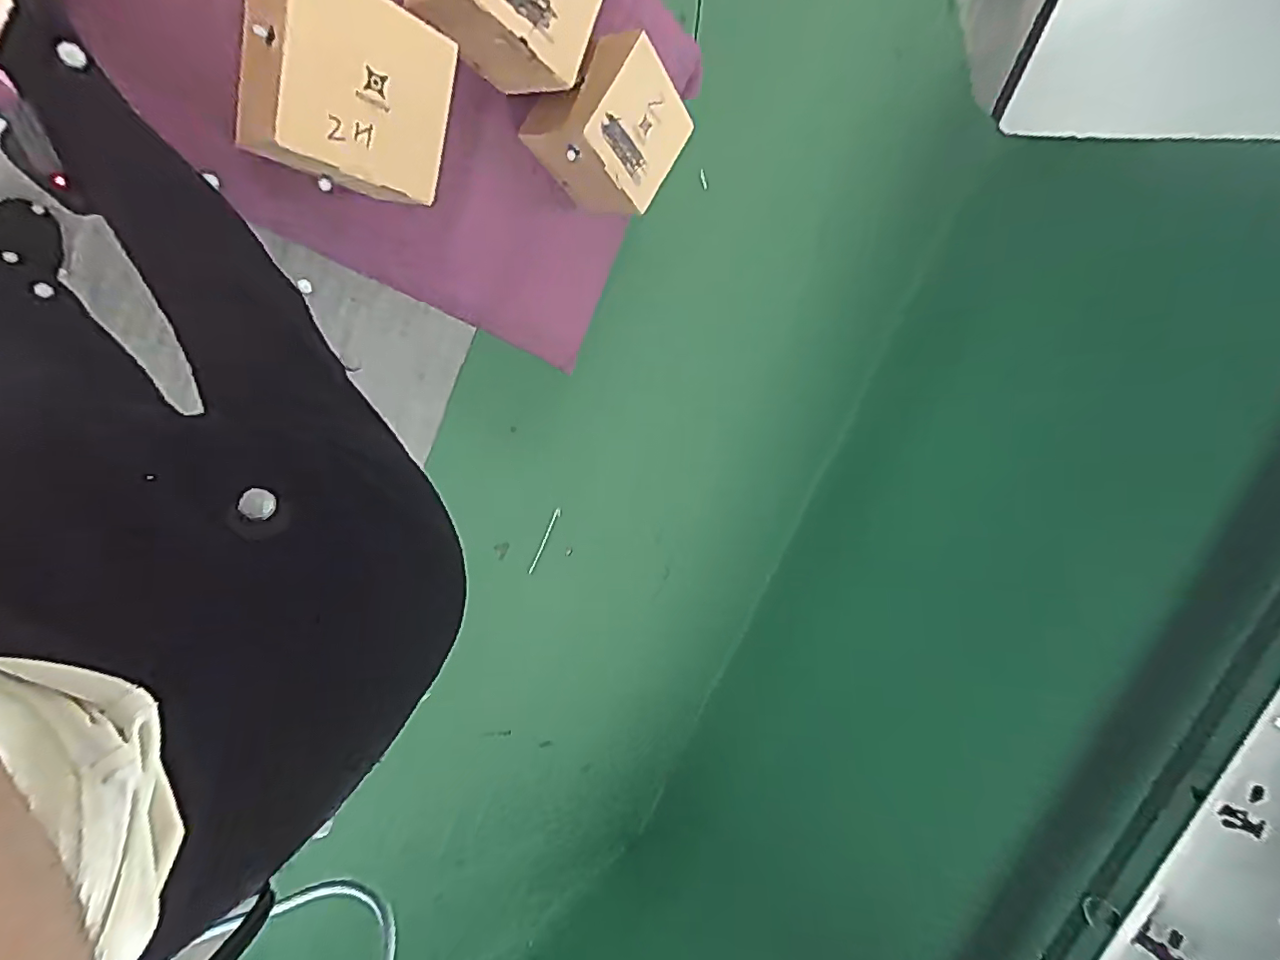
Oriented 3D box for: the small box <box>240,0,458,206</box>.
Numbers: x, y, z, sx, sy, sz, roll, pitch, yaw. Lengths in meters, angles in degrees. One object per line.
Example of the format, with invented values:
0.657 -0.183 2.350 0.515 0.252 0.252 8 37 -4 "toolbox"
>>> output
-0.338 -0.439 0.620 0.168 0.176 0.179 0 112 -48 "small box"
